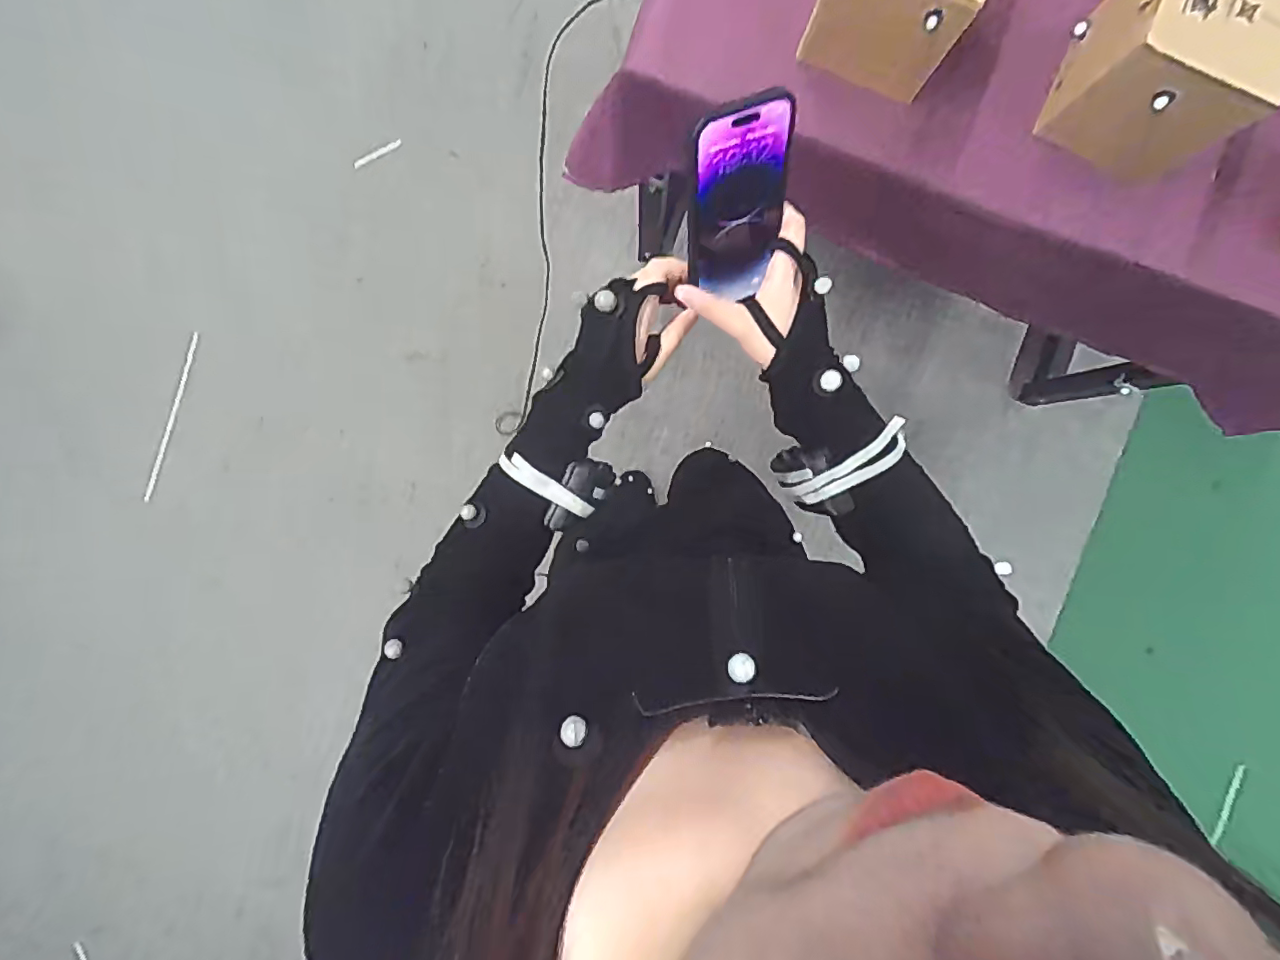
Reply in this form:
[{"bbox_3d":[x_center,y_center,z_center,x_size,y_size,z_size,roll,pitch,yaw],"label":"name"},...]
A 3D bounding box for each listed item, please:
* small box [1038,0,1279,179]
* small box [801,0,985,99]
[{"bbox_3d":[0.663,-0.523,0.684,0.179,0.176,0.168,23,91,-2],"label":"small box"},{"bbox_3d":[0.327,-0.630,0.678,0.179,0.176,0.168,21,91,-2],"label":"small box"}]
